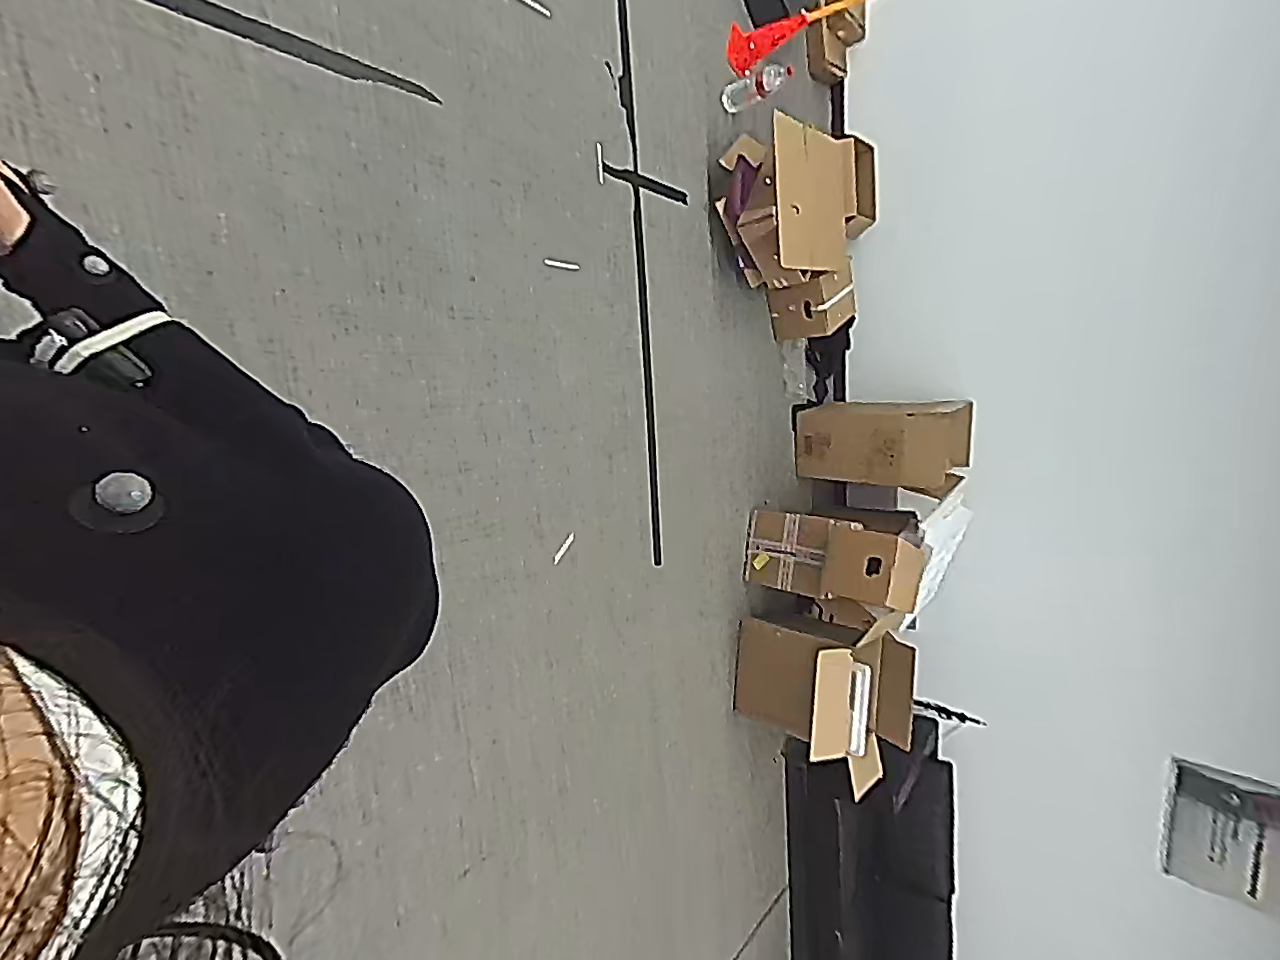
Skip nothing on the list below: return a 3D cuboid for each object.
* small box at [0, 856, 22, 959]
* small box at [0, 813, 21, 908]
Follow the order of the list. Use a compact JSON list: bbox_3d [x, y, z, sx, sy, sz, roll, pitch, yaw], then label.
[{"bbox_3d":[-1.063,0.718,0.806,0.179,0.176,0.168,-10,100,-48],"label":"small box"},{"bbox_3d":[-1.191,0.712,0.909,0.179,0.176,0.168,-14,103,-48],"label":"small box"}]
